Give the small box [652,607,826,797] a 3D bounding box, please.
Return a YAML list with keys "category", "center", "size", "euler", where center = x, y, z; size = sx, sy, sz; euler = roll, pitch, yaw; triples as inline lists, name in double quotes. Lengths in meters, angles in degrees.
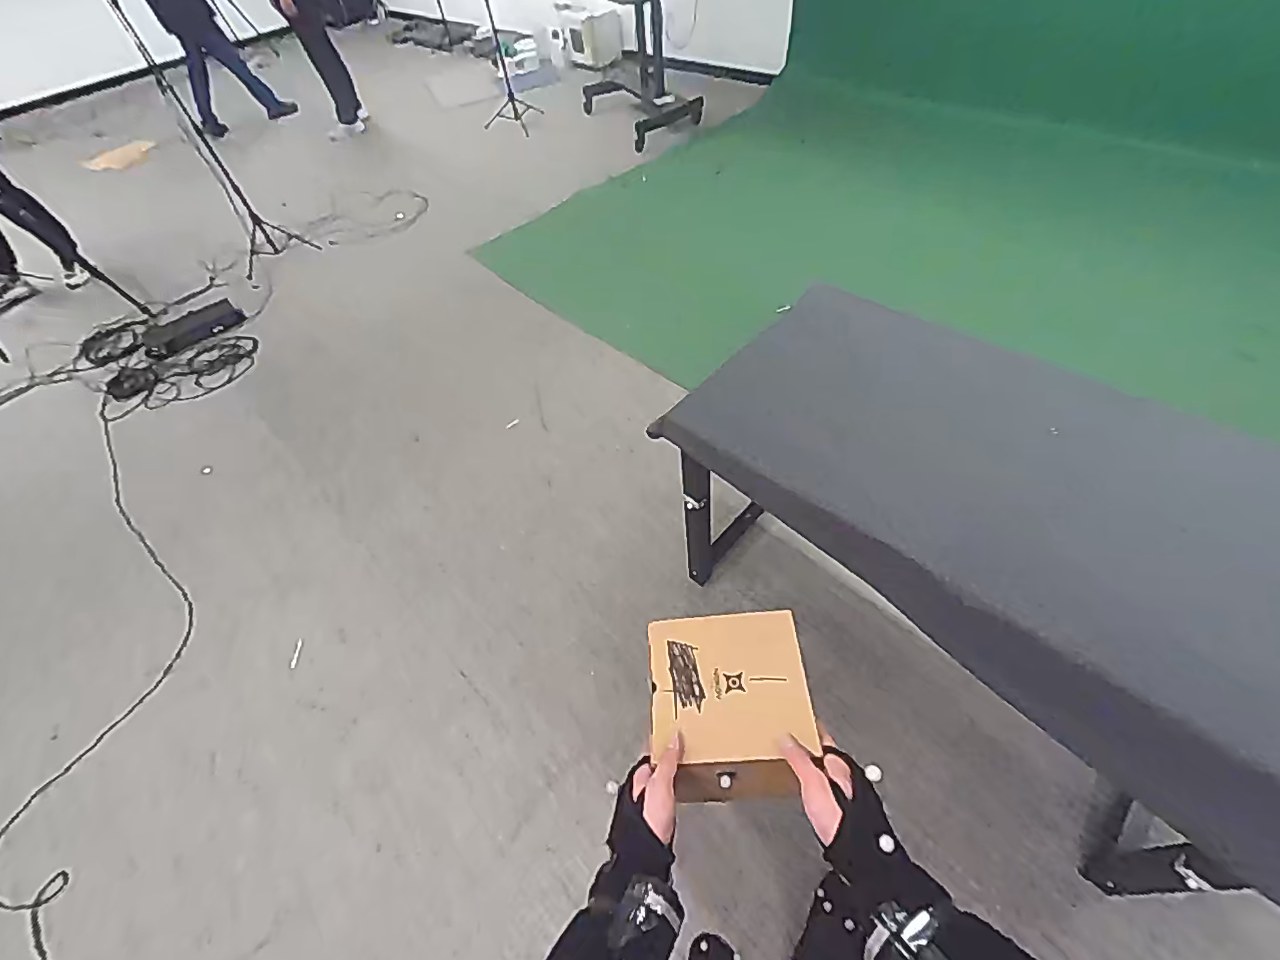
- category: "small box"
  center: [0.112, 0.272, 0.654]
  size: [0.179, 0.176, 0.168]
  euler: [-5, 48, 5]
